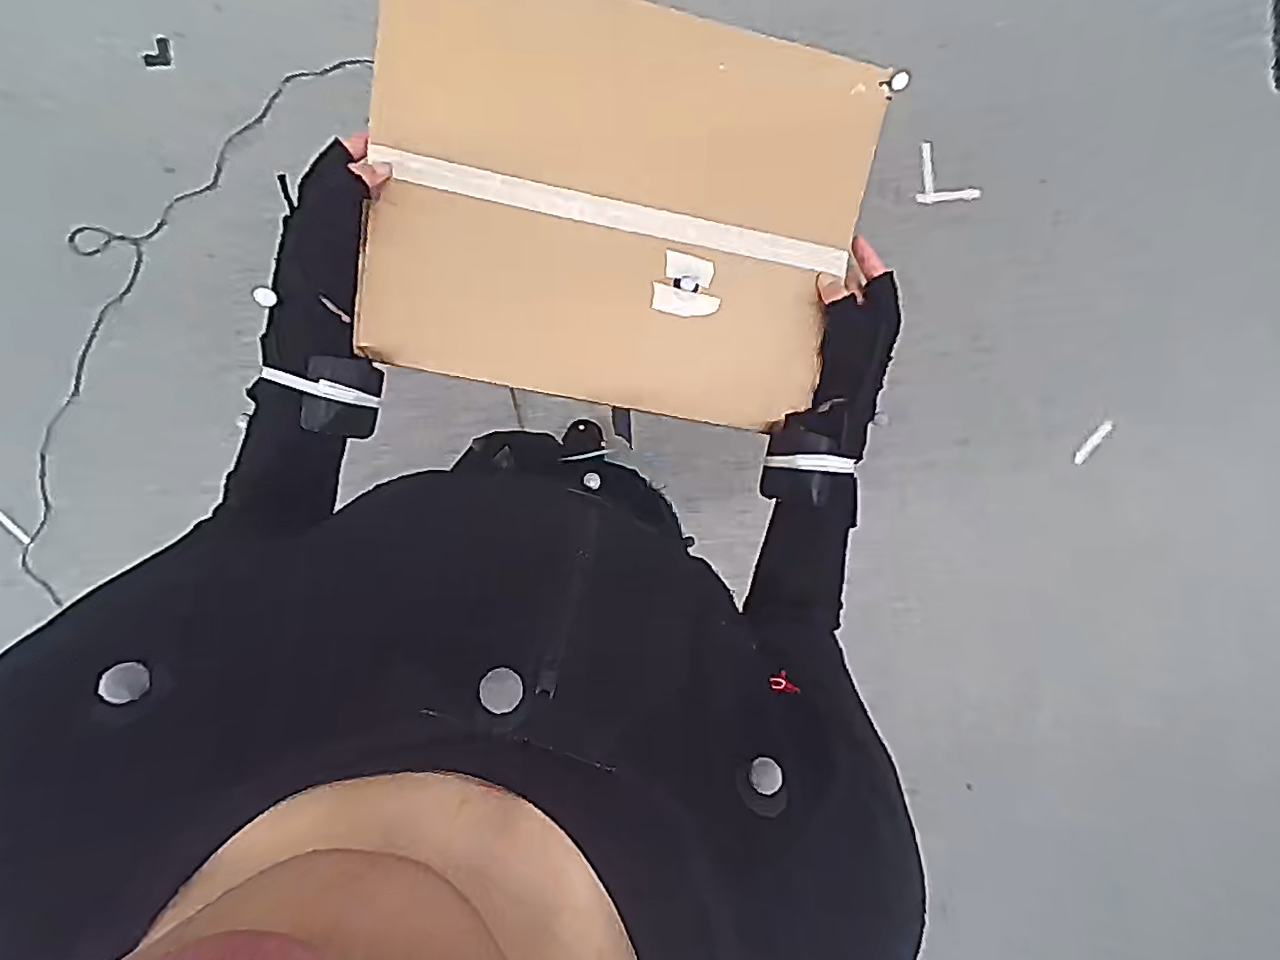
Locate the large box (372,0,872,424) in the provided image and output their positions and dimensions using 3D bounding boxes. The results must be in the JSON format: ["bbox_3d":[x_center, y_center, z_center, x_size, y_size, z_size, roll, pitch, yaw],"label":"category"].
[{"bbox_3d":[-0.033,-0.257,0.611,0.408,0.320,0.320,8,102,-7],"label":"large box"}]
